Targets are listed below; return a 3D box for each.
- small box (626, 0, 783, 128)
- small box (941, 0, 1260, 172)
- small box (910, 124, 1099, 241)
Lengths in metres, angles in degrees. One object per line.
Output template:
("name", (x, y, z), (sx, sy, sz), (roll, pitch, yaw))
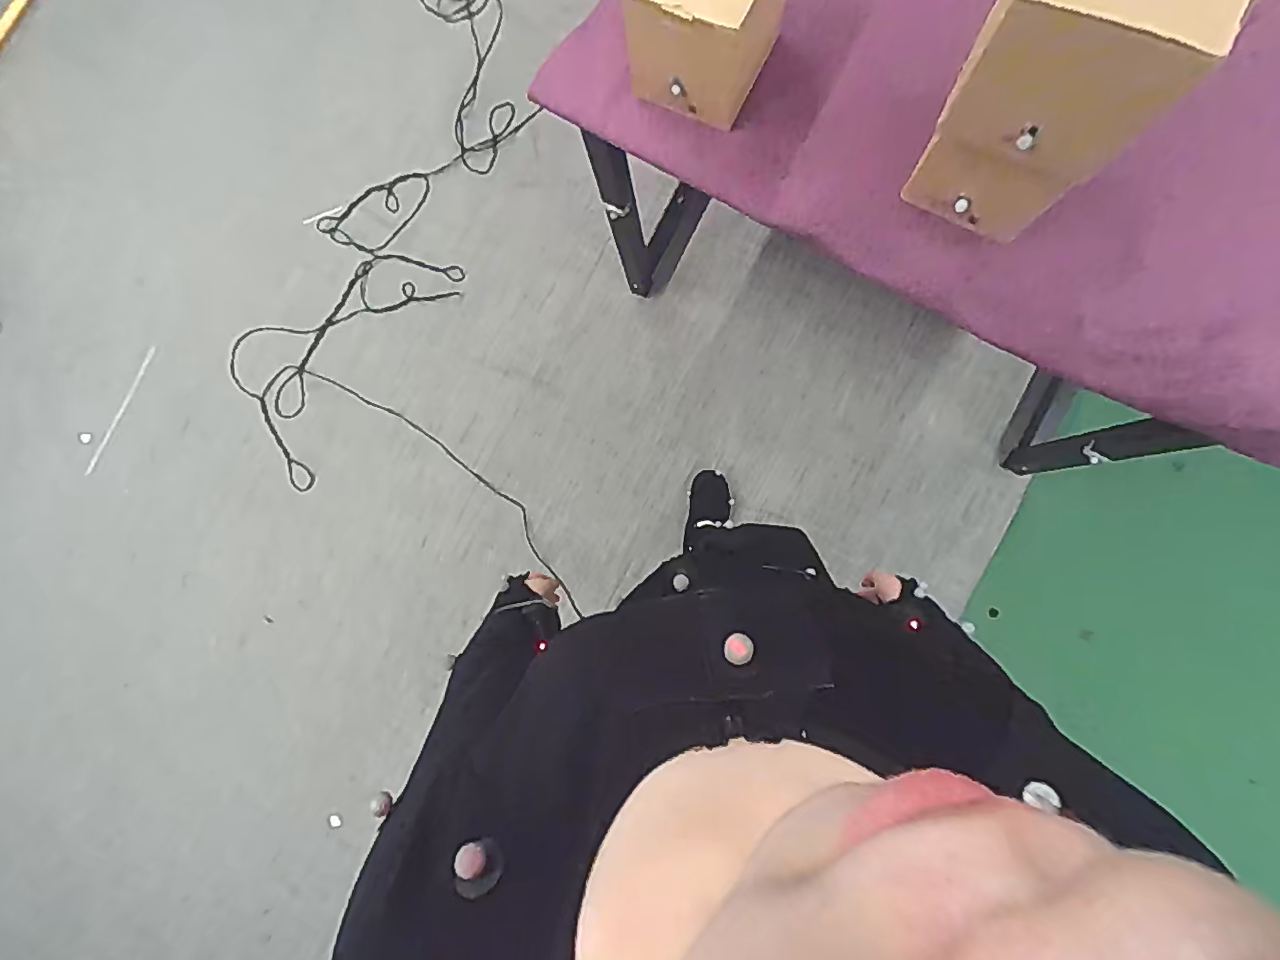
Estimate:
("small box", (0.092, -0.640, 0.740), (0.168, 0.176, 0.179), (27, 88, 8))
("small box", (0.437, -0.438, 0.520), (0.179, 0.176, 0.168), (26, 89, 8))
("small box", (0.476, -0.445, 0.681), (0.168, 0.176, 0.179), (29, 90, 9))
